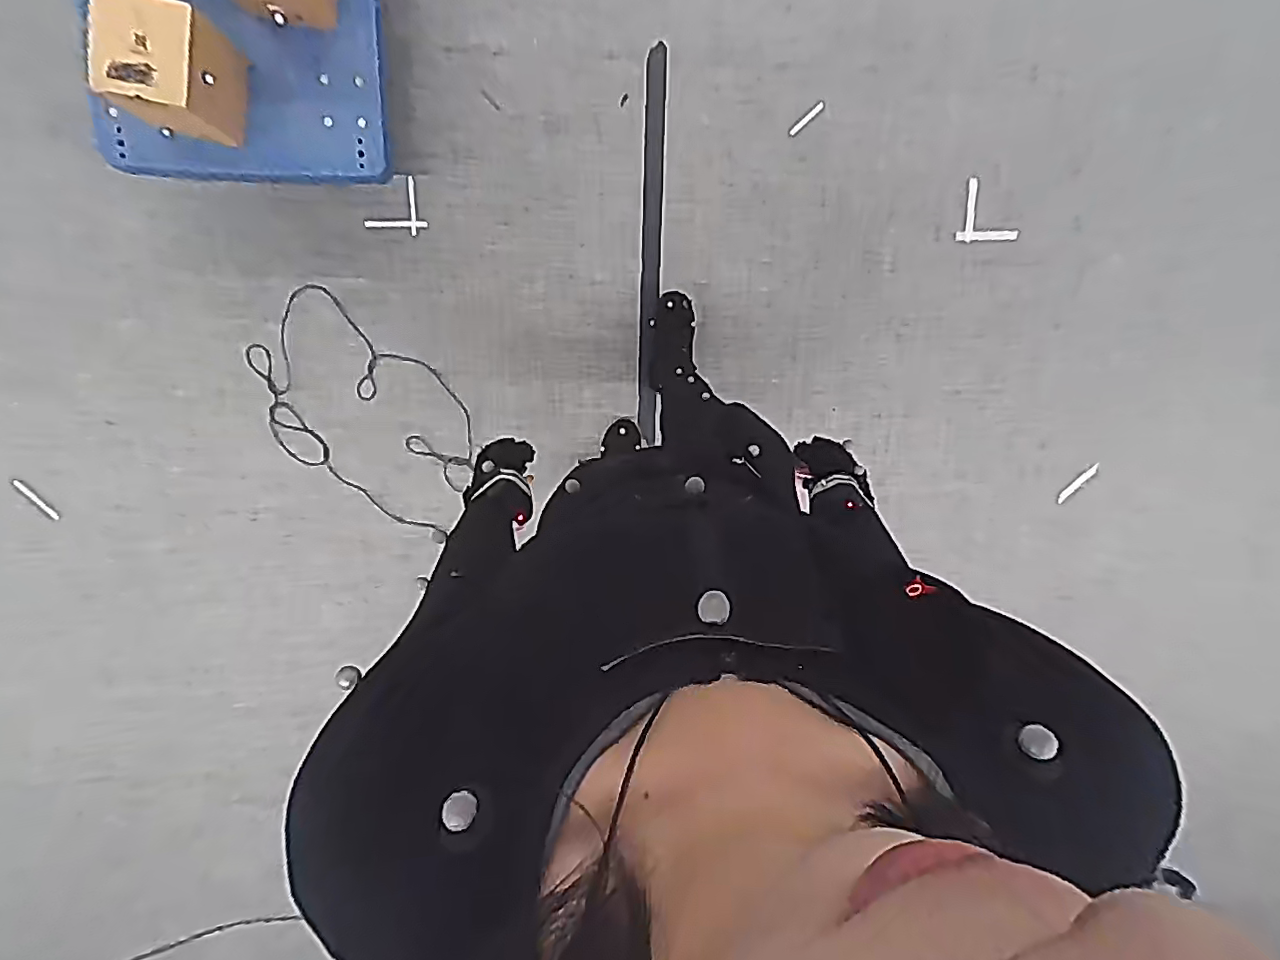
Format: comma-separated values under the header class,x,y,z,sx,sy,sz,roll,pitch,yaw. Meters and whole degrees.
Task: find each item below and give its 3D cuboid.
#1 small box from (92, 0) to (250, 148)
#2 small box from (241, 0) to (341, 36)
class,x,y,z,sx,sy,sz,roll,pitch,yaw
small box,-0.887,-0.775,1.037,0.168,0.176,0.179,10,98,-6
small box,-0.684,-0.993,1.015,0.168,0.176,0.179,6,101,-4
